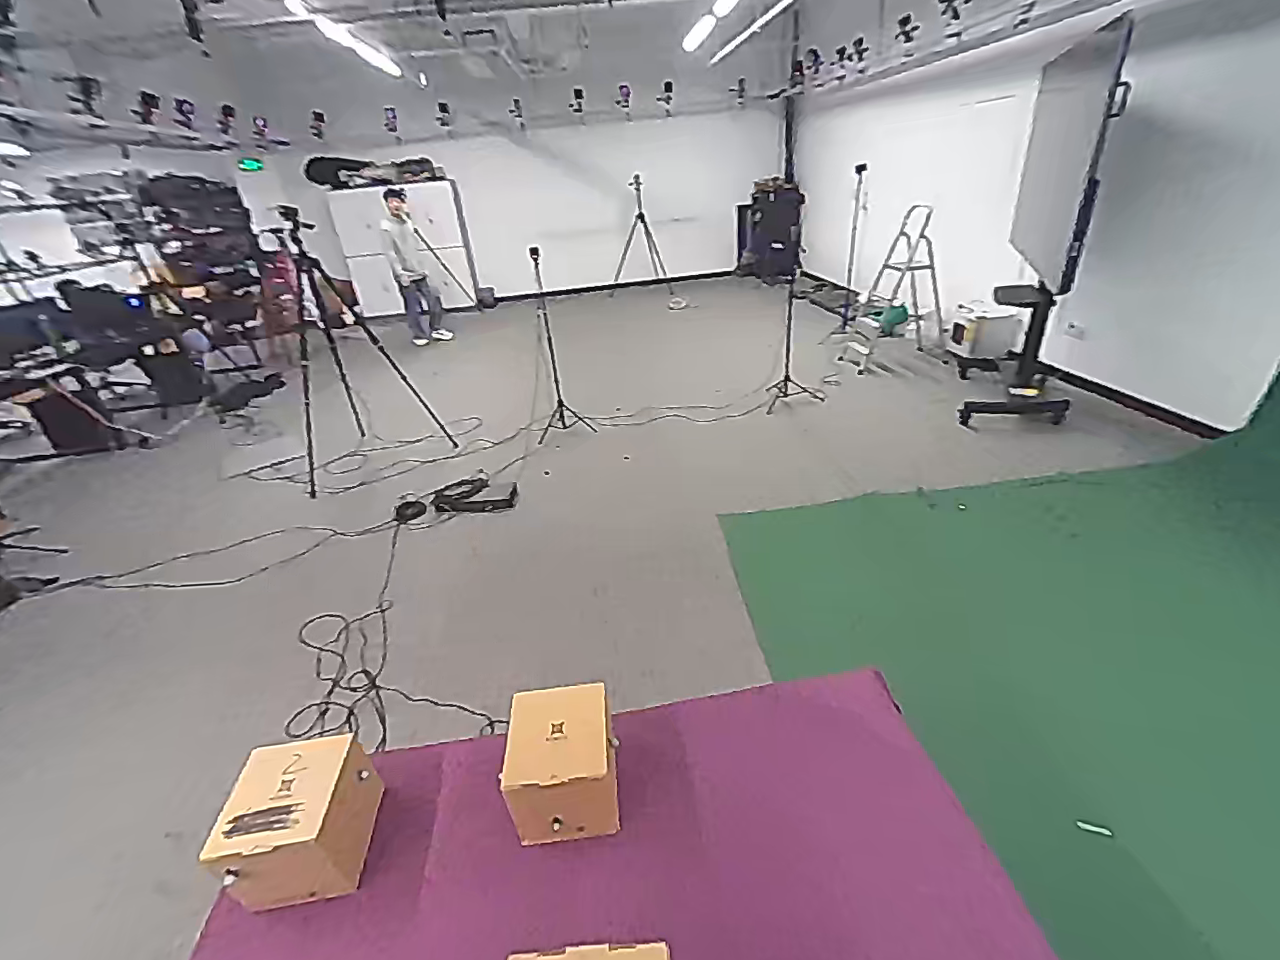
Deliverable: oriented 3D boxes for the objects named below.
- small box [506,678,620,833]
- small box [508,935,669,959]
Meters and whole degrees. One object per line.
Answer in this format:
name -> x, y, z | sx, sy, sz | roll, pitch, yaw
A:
small box -> -0.128, 0.484, 0.956 | 0.168, 0.176, 0.179 | -7, 32, -1
small box -> -0.047, 0.590, 0.532 | 0.168, 0.176, 0.179 | -6, 32, 3
